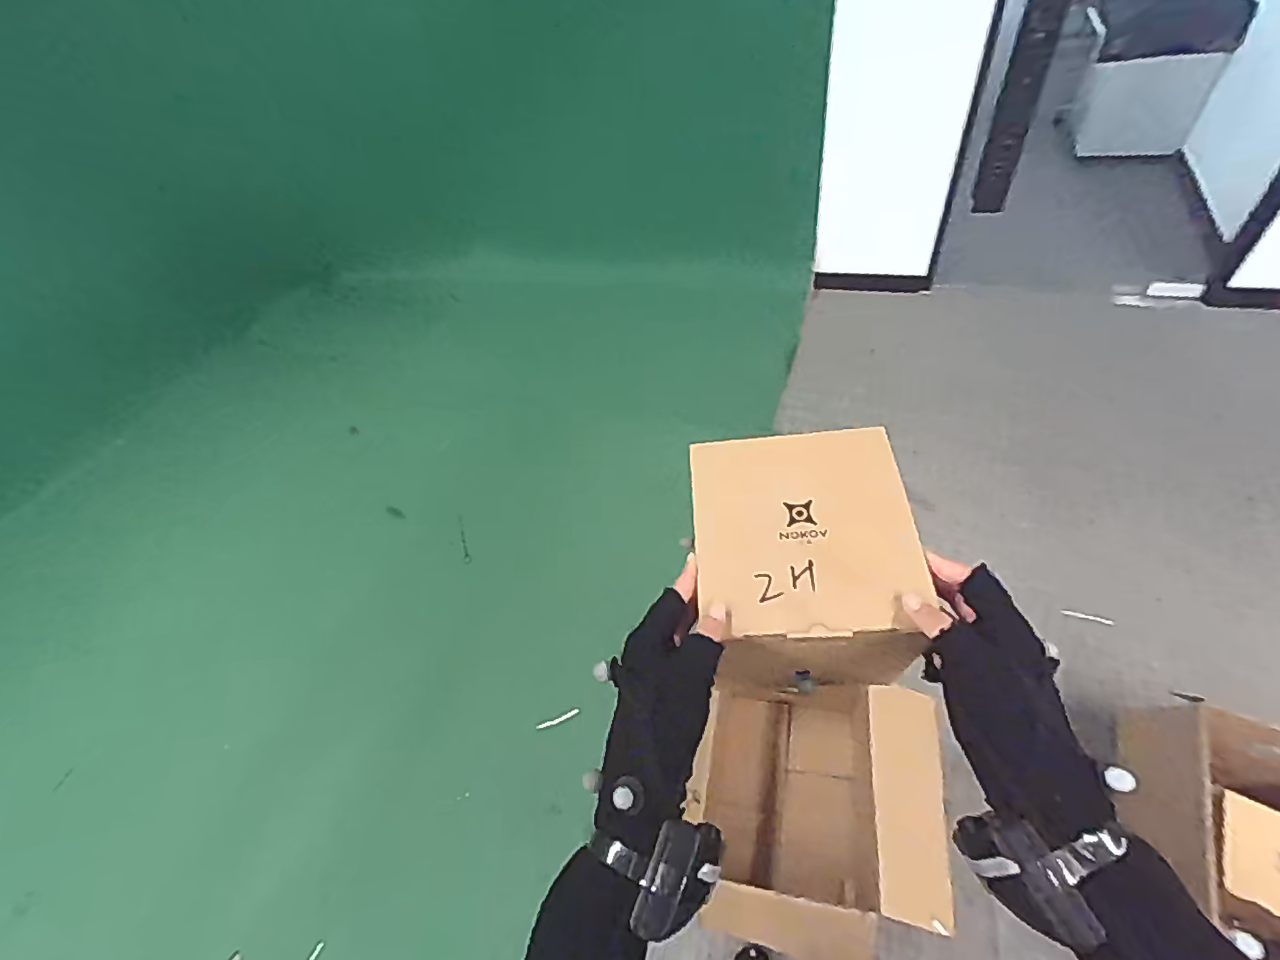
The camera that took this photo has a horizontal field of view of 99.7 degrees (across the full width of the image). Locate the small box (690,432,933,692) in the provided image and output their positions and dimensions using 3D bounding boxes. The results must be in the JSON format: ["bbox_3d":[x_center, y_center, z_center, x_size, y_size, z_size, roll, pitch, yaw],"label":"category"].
[{"bbox_3d":[0.134,0.080,0.488,0.168,0.176,0.179,-5,56,9],"label":"small box"}]
